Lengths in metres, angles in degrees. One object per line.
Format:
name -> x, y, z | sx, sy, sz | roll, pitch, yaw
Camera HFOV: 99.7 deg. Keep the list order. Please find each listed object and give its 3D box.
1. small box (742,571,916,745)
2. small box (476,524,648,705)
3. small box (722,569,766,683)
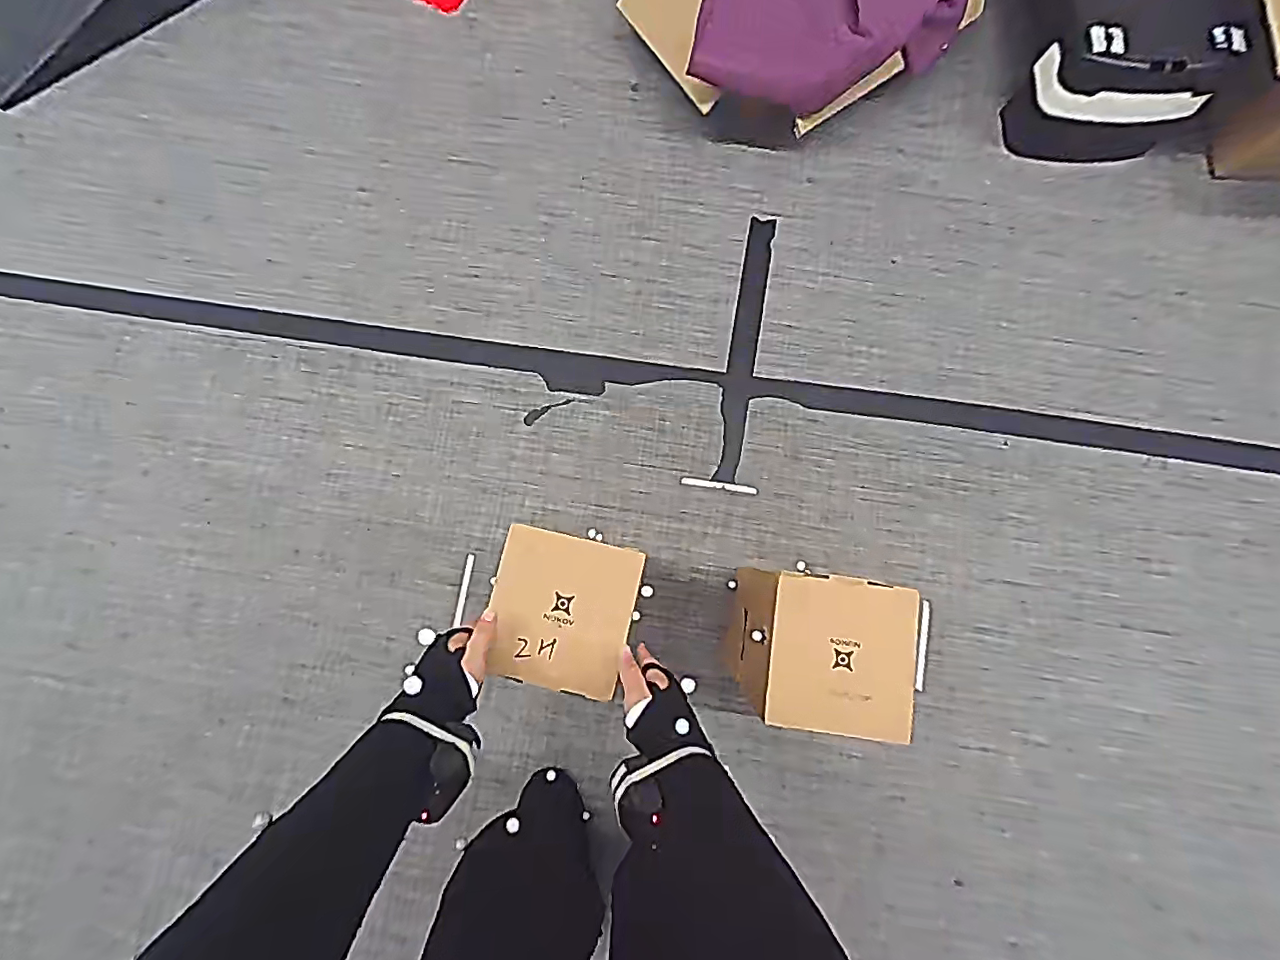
small box -> 0.231, 0.214, 0.697 | 0.168, 0.176, 0.179 | 7, 83, 3
small box -> -0.090, 0.164, 0.701 | 0.168, 0.176, 0.179 | 13, 83, 2
small box -> 0.237, 0.240, 0.858 | 0.179, 0.176, 0.168 | 12, 82, 1
